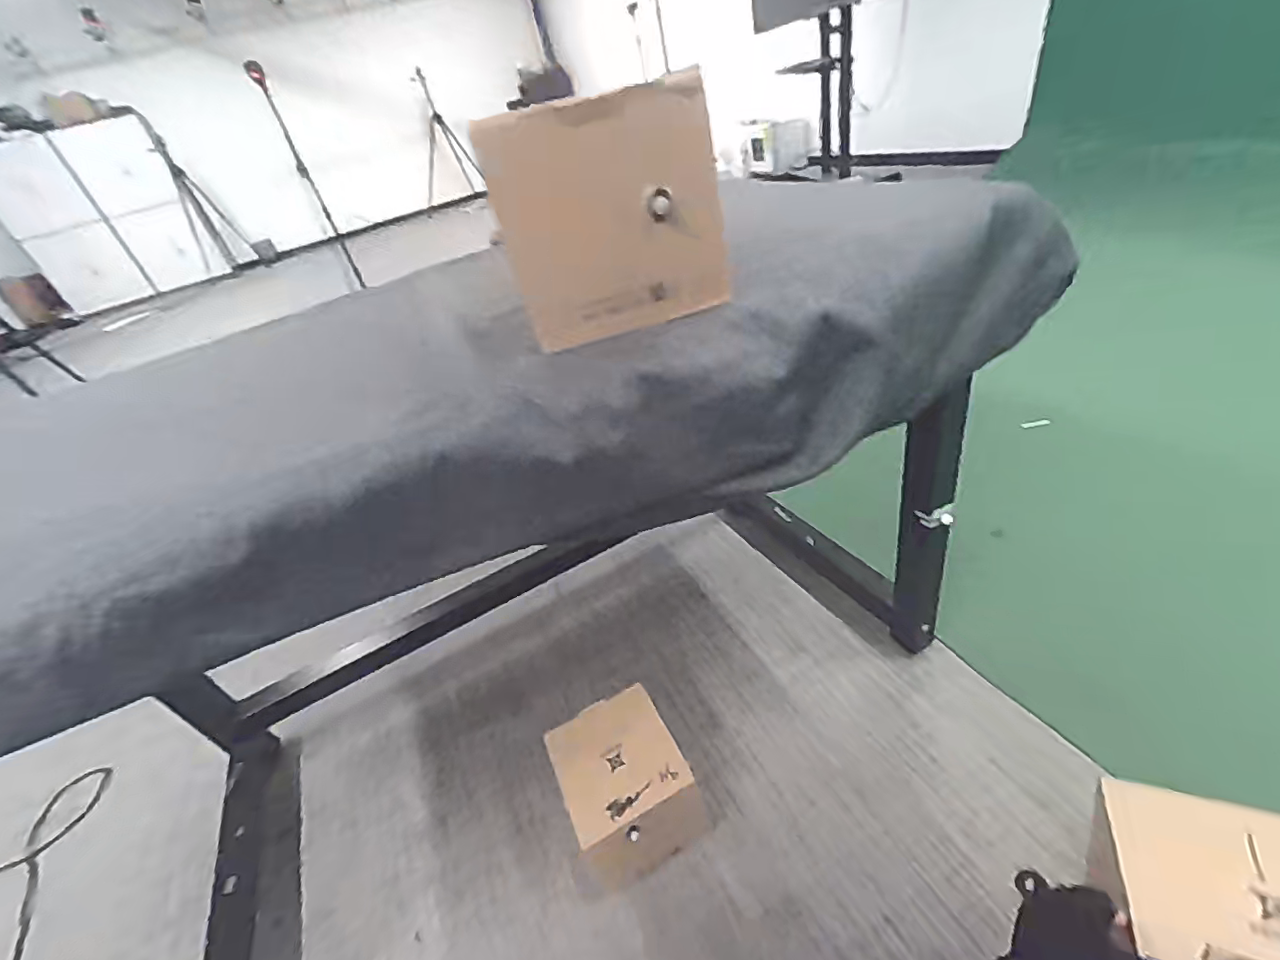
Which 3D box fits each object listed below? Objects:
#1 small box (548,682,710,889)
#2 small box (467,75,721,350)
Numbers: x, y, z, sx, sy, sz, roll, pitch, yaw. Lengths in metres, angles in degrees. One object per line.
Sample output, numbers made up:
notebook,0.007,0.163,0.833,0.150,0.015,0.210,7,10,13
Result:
small box,-0.016,0.449,0.803,0.168,0.176,0.179,-26,35,-13
small box,-0.036,-0.229,0.477,0.168,0.176,0.179,-15,34,-2
